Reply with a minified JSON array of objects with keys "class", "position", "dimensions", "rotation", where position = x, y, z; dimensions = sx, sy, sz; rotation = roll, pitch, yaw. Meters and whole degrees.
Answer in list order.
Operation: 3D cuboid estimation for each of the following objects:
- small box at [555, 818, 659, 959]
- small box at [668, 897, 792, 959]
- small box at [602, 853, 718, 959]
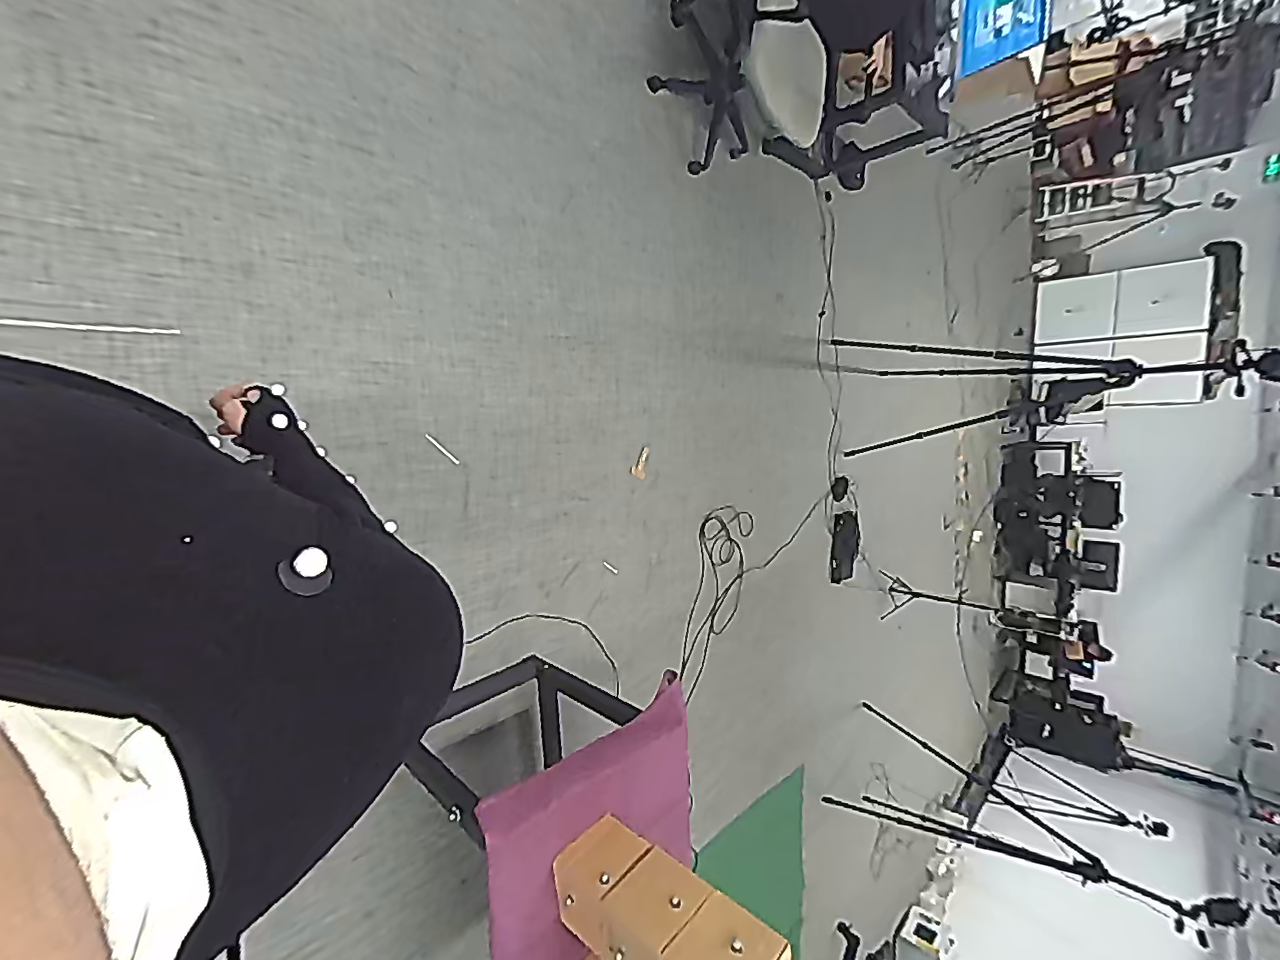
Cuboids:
[{"class":"small box","position":[-0.069,0.921,1.229],"dimensions":[0.179,0.176,0.168],"rotation":[-15,105,-43]},{"class":"small box","position":[0.164,0.936,0.997],"dimensions":[0.179,0.176,0.168],"rotation":[-14,103,-44]},{"class":"small box","position":[0.046,0.925,1.111],"dimensions":[0.179,0.176,0.168],"rotation":[-17,105,-43]}]
